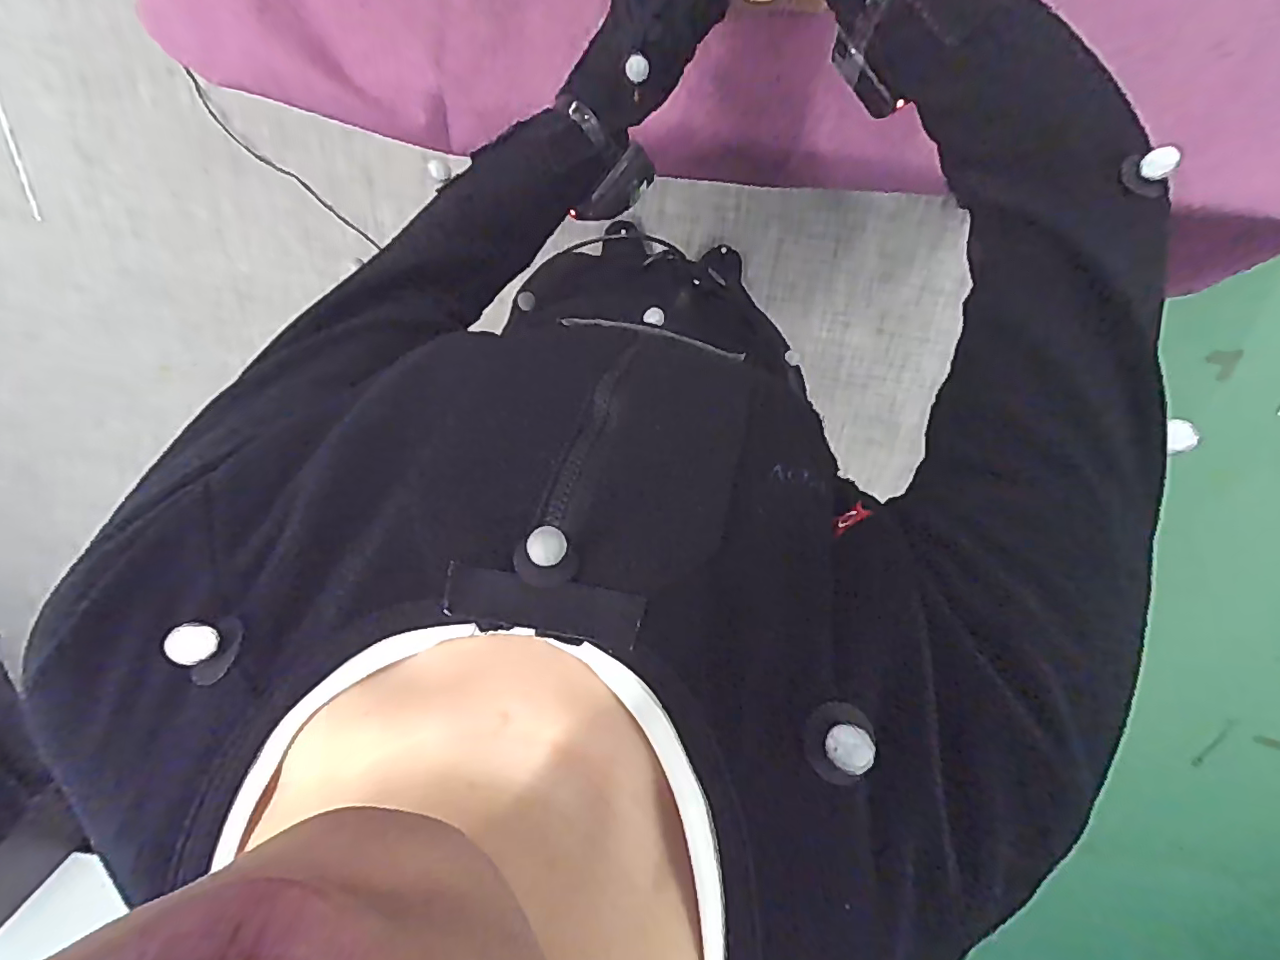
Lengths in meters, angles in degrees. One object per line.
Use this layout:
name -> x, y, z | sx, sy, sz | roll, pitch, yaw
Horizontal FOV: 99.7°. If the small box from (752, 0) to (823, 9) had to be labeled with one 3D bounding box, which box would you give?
small box -> 0.097, -0.499, 0.412 | 0.168, 0.176, 0.179 | 7, 115, 1
